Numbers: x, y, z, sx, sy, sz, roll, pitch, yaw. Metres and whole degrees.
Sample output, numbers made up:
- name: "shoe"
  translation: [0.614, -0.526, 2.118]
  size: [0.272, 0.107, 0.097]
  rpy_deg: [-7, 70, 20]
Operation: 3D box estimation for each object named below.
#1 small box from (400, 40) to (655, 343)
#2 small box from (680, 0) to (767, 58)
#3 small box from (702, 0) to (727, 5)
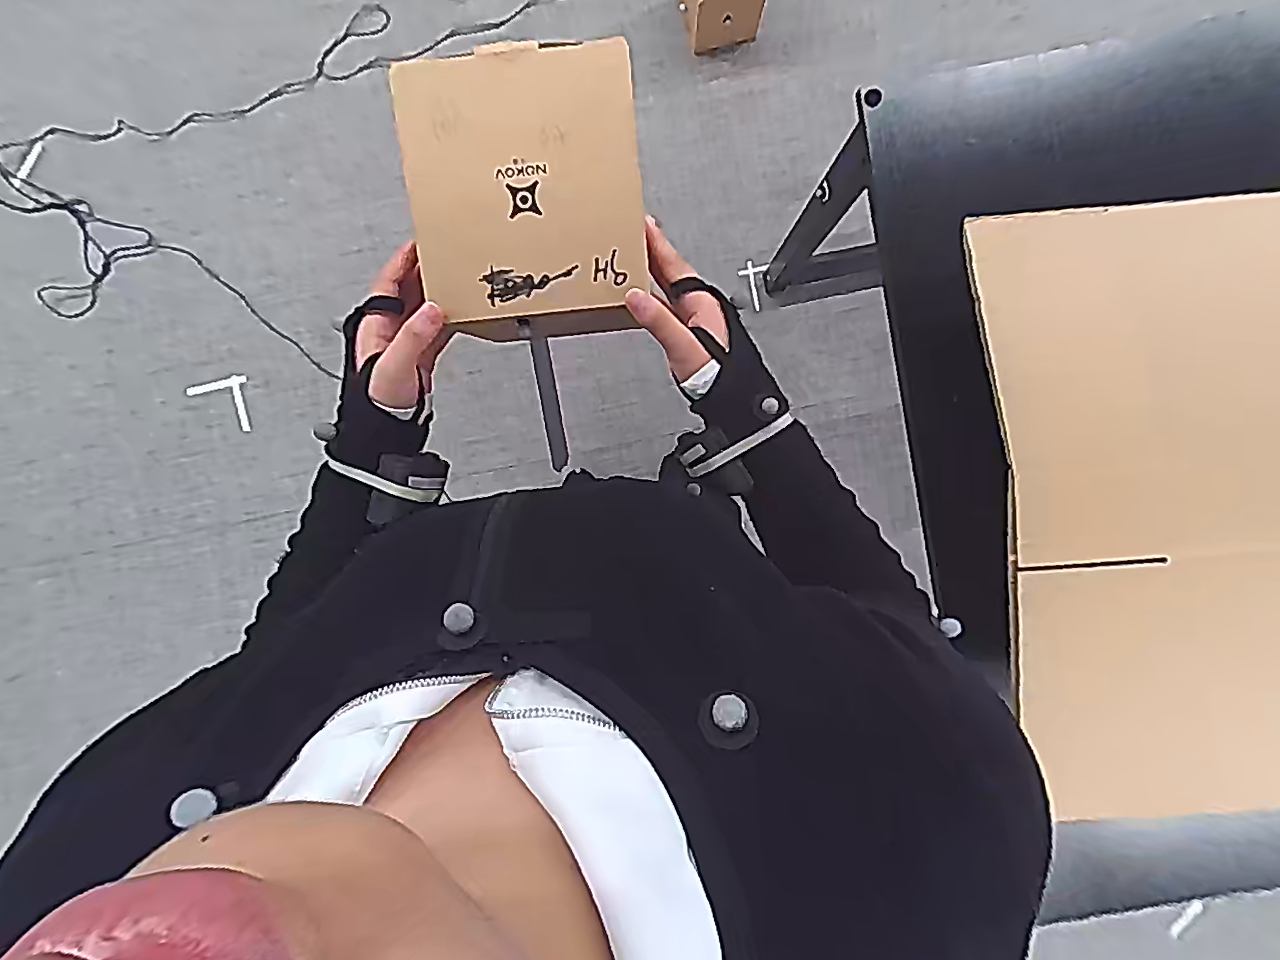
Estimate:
- name: "small box"
  translation: [-0.078, -0.221, 0.461]
  size: [0.168, 0.176, 0.179]
  rpy_deg: [-5, 99, 2]
- name: "small box"
  translation: [0.205, -1.217, 1.358]
  size: [0.179, 0.176, 0.168]
  rpy_deg: [-14, 92, 2]
- name: "small box"
  translation: [0.208, -1.213, 1.195]
  size: [0.179, 0.176, 0.168]
  rpy_deg: [-17, 93, 0]
